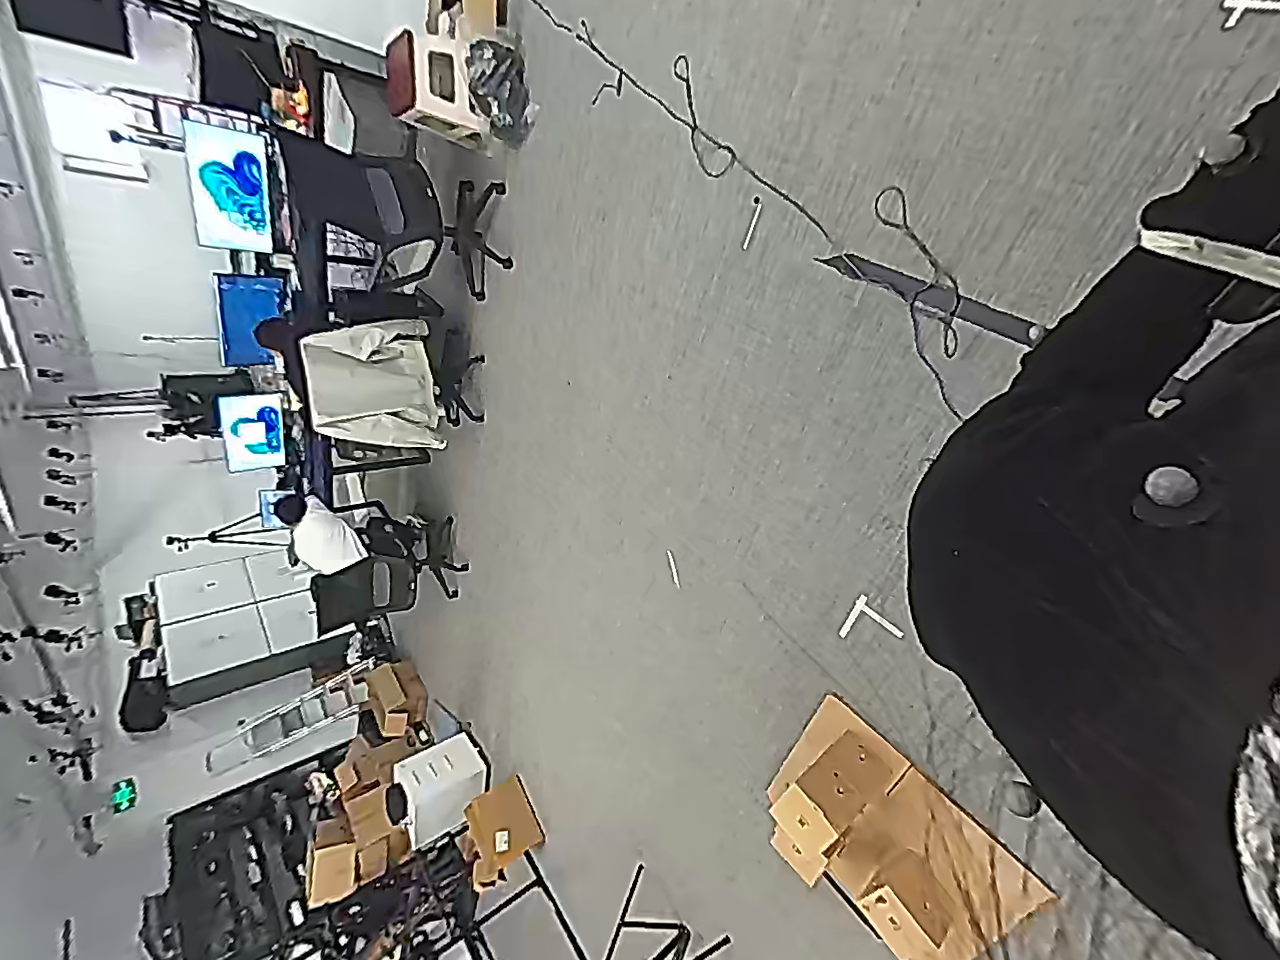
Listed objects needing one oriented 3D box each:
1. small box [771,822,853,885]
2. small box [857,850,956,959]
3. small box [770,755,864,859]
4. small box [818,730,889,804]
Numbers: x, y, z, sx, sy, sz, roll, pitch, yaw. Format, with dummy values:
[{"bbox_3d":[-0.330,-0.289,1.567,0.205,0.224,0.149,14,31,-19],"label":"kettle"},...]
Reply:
[{"bbox_3d":[0.581,1.198,1.828,0.179,0.176,0.168,36,125,39],"label":"small box"},{"bbox_3d":[0.790,1.251,1.596,0.179,0.176,0.168,48,131,29],"label":"small box"},{"bbox_3d":[0.521,0.952,1.585,0.168,0.176,0.179,44,128,33],"label":"small box"},{"bbox_3d":[0.643,0.929,1.691,0.168,0.176,0.179,40,126,35],"label":"small box"}]
